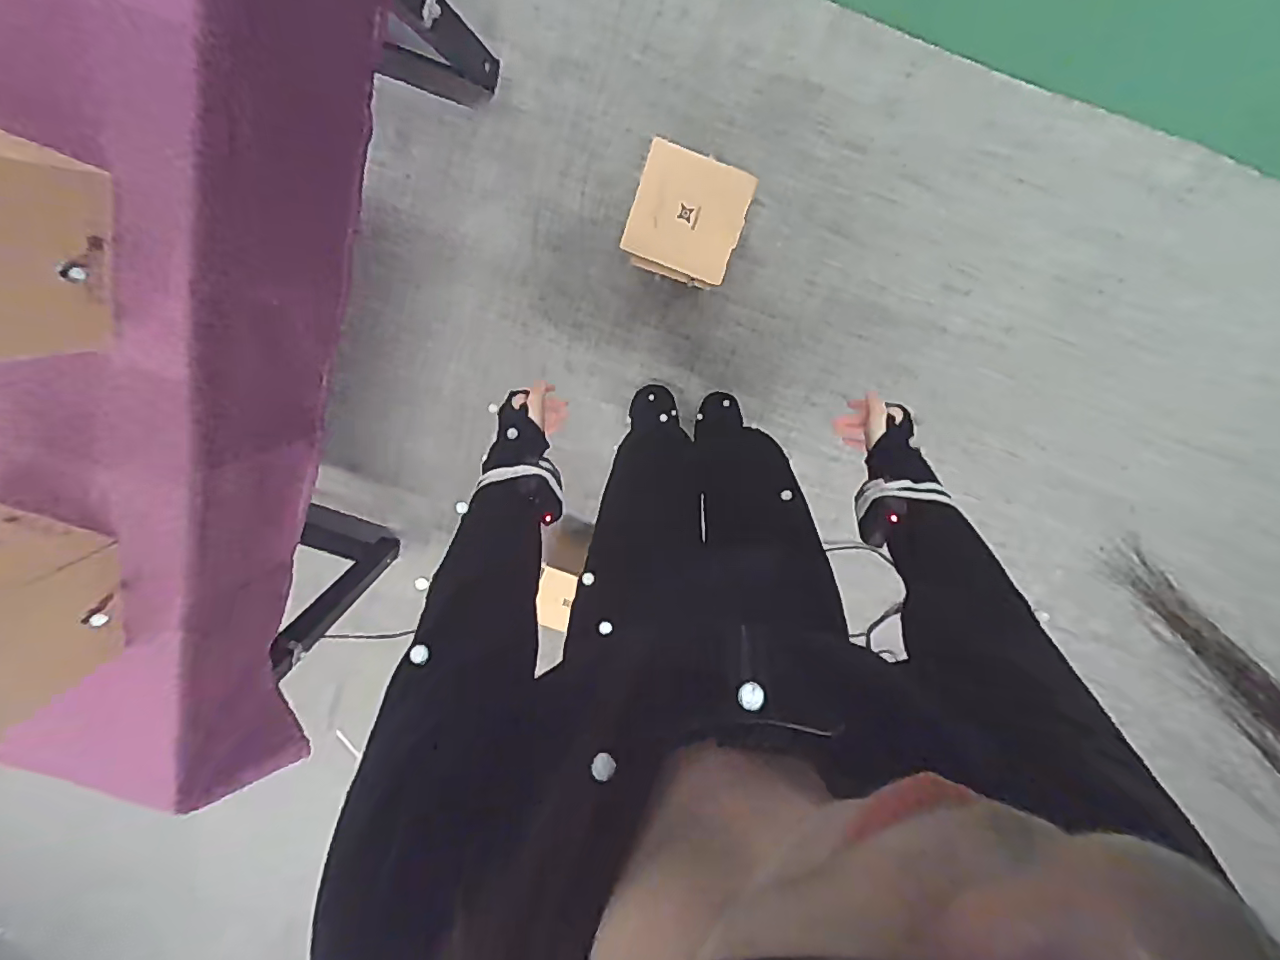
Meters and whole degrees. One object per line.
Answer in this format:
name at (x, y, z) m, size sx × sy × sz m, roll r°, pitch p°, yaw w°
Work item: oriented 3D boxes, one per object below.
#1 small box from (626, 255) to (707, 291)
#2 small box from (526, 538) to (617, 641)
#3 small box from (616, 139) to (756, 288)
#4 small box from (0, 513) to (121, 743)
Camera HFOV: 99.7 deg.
small box at (0.079, -0.490, 1.070) m, size 0.168 × 0.176 × 0.179 m, roll 17°, pitch 112°, yaw -4°
small box at (-0.167, 0.272, 1.379) m, size 0.179 × 0.176 × 0.168 m, roll 21°, pitch 111°, yaw -4°
small box at (0.073, -0.439, 0.914) m, size 0.179 × 0.176 × 0.168 m, roll 20°, pitch 109°, yaw -4°
small box at (-0.713, 0.154, 0.580) m, size 0.168 × 0.176 × 0.179 m, roll 18°, pitch 110°, yaw -3°
